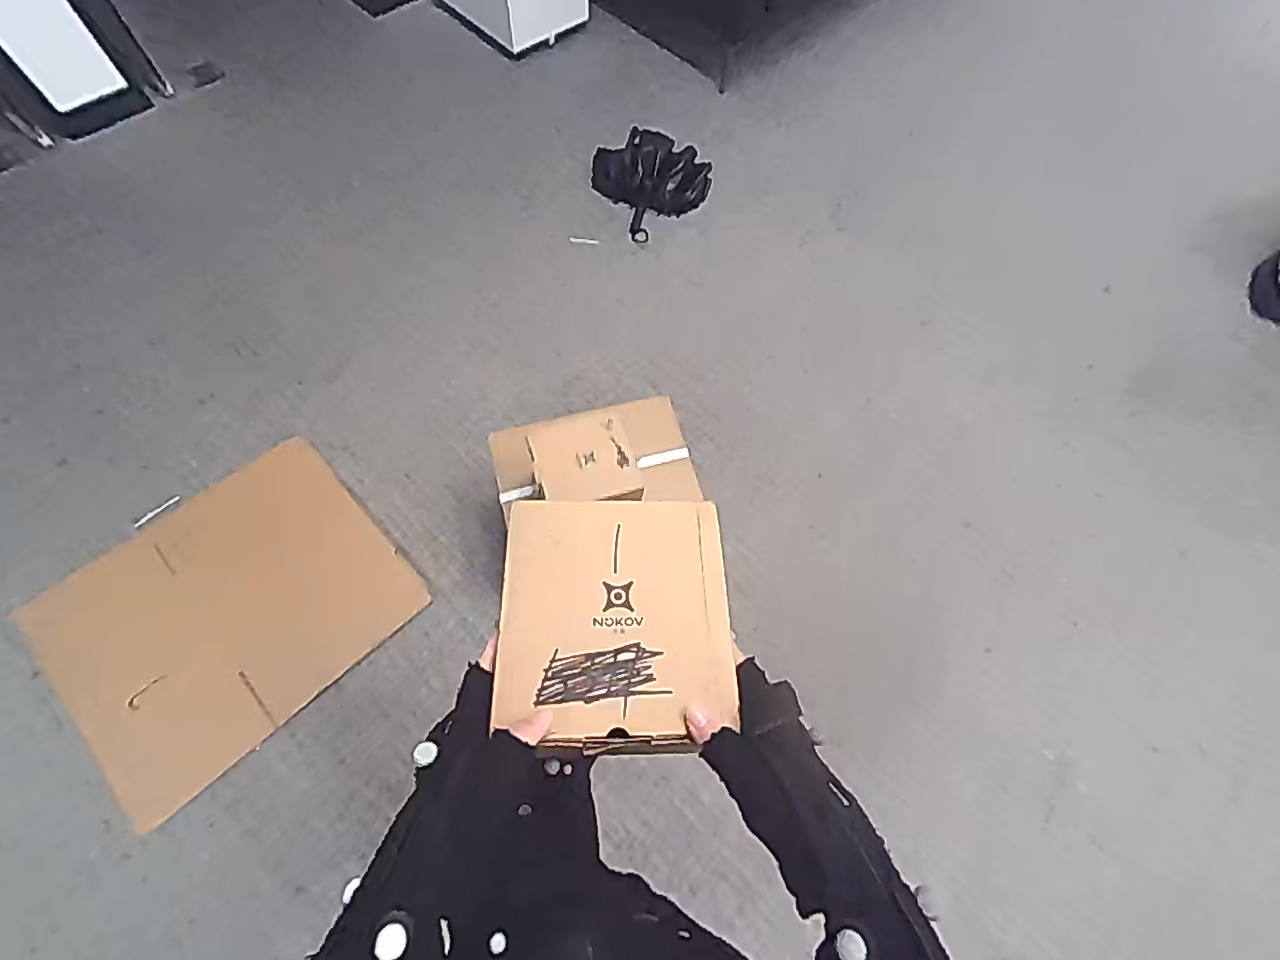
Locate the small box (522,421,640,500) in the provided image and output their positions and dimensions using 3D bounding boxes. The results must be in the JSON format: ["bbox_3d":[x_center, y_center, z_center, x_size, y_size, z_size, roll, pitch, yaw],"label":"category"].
[{"bbox_3d":[-0.111,0.017,1.039,0.179,0.176,0.168,-19,66,-14],"label":"small box"}]

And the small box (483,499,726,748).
[{"bbox_3d":[-0.028,0.131,0.468,0.168,0.176,0.179,0,59,-4],"label":"small box"}]
